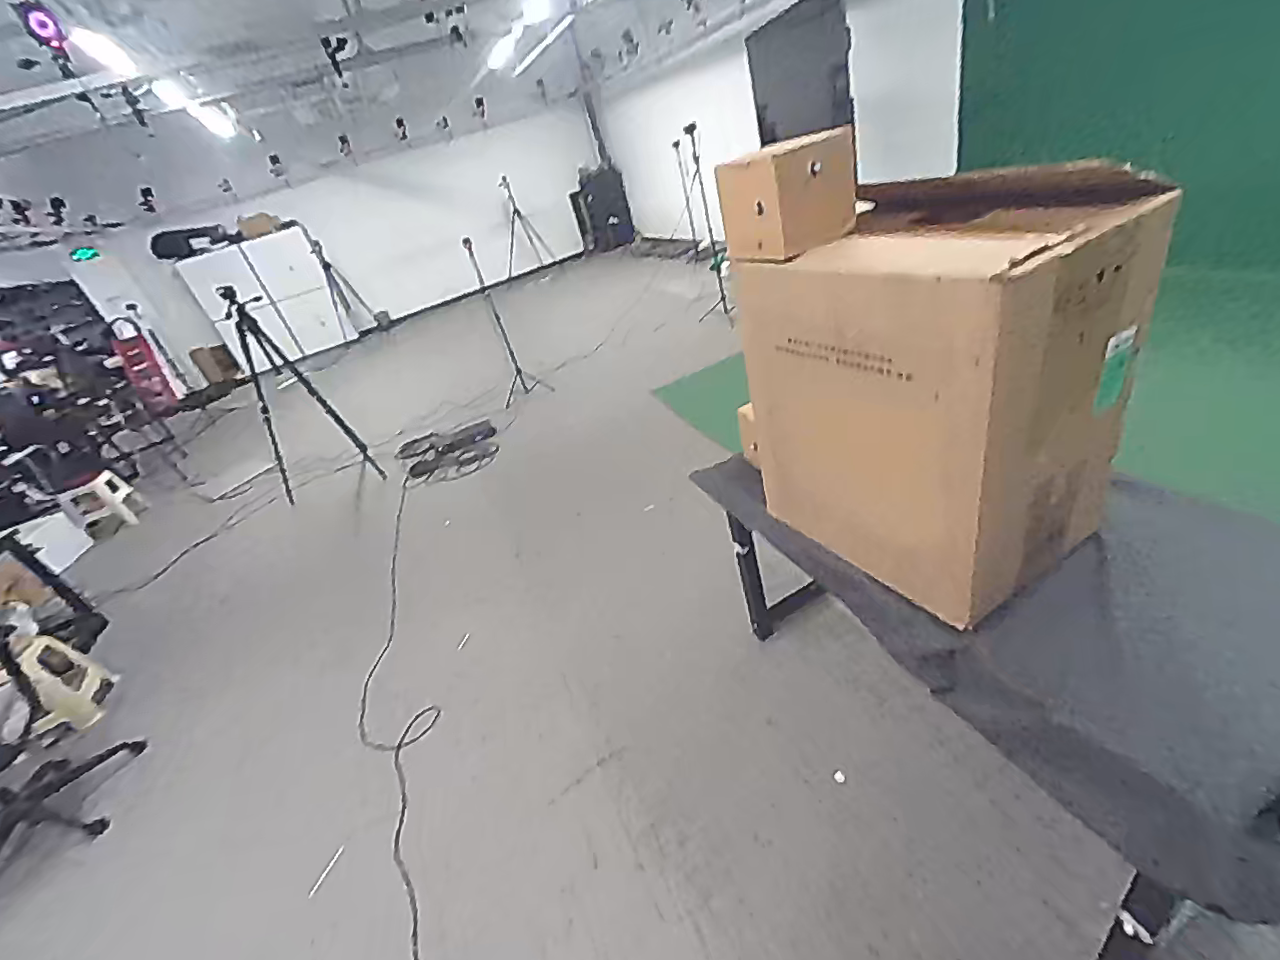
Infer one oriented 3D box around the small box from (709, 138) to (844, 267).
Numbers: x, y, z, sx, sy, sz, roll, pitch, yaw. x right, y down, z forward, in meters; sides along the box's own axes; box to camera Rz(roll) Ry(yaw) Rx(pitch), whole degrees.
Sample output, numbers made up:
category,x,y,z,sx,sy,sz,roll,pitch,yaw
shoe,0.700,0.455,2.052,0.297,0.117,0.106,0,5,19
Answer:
category,x,y,z,sx,sy,sz,roll,pitch,yaw
small box,0.256,-0.502,0.997,0.179,0.176,0.168,-27,32,-17
